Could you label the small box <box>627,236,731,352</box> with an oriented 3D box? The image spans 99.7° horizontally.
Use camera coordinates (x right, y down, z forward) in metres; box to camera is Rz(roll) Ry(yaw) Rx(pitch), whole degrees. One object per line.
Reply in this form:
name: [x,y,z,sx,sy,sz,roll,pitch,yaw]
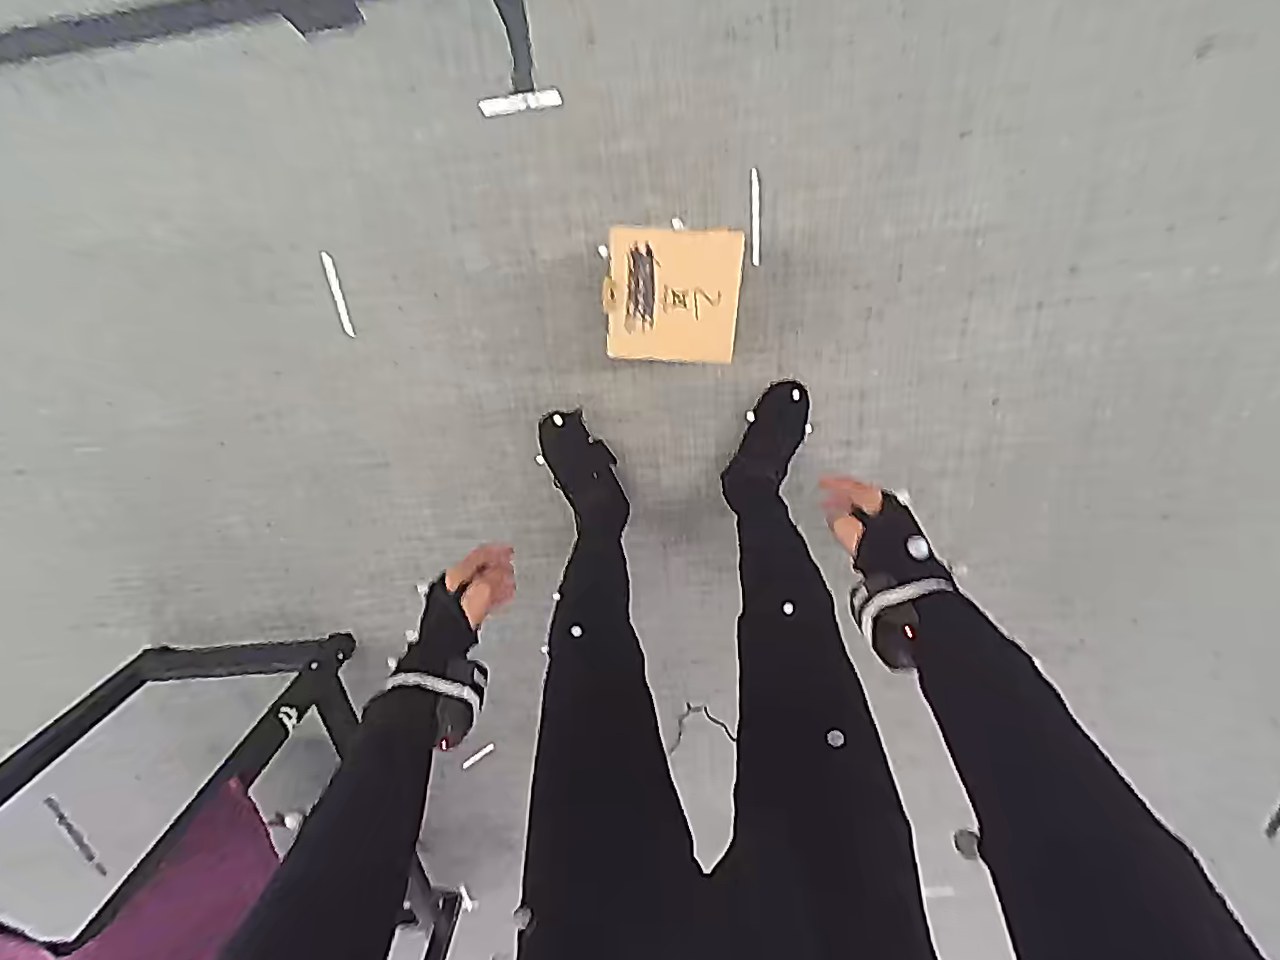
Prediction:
small box: [0.067,-0.329,0.947,0.168,0.176,0.179,0,113,3]
